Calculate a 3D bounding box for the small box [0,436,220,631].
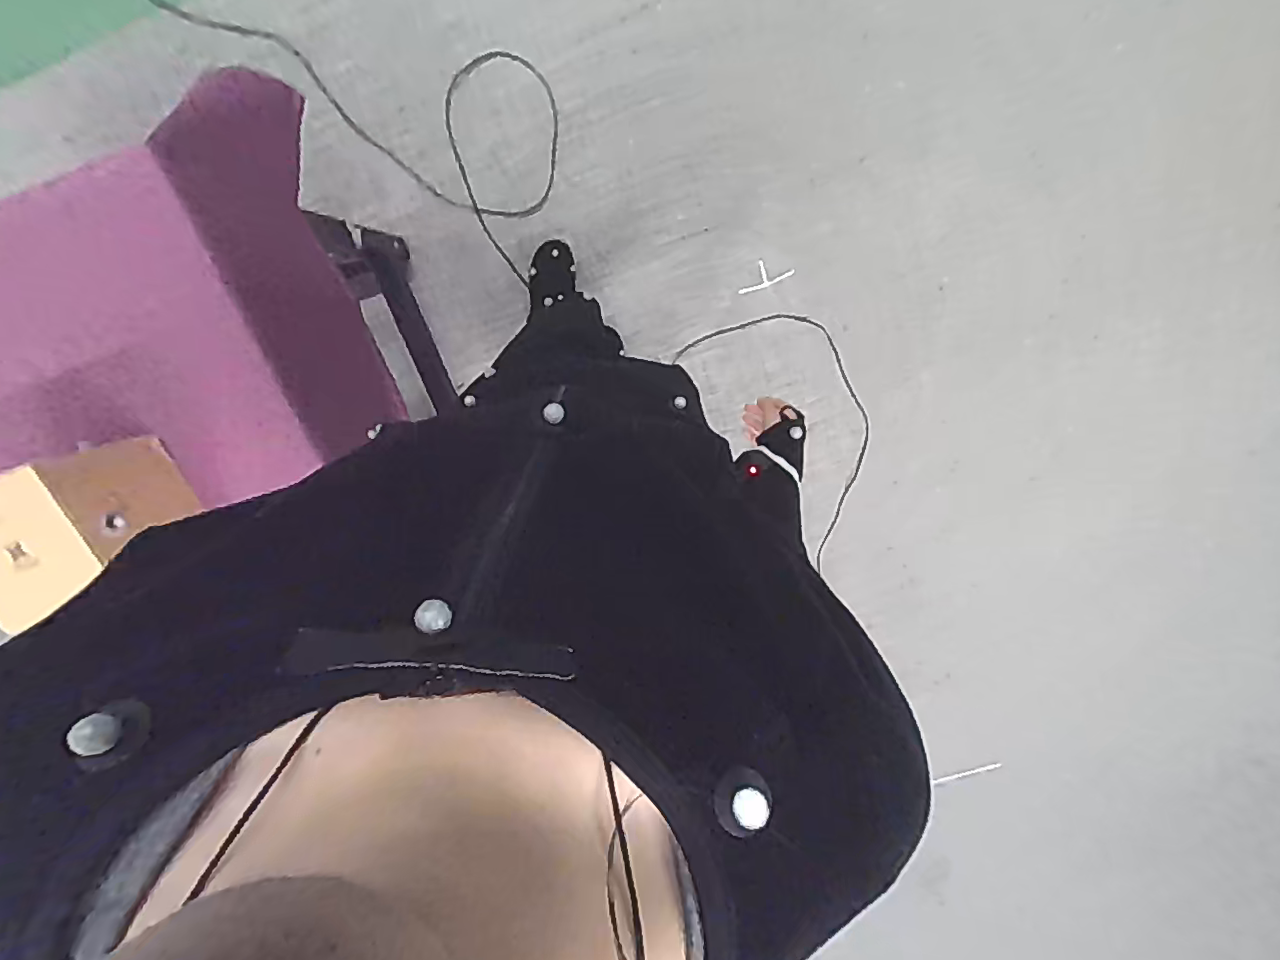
[{"bbox_3d":[-0.712,0.061,0.706,0.168,0.176,0.179,-18,106,5],"label":"small box"}]
